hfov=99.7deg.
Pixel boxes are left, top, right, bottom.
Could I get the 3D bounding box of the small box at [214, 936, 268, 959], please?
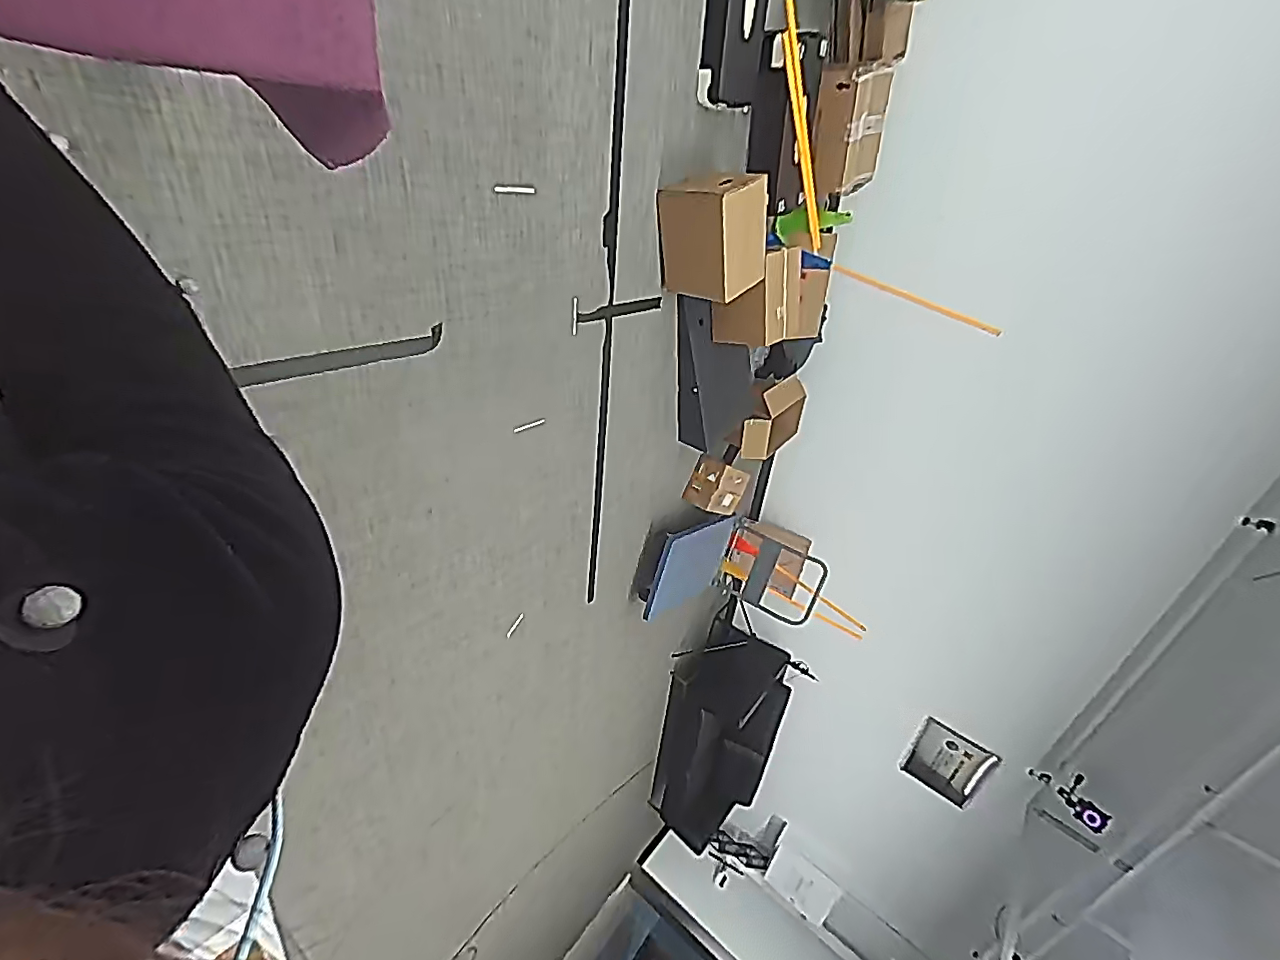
[{"bbox_3d":[-0.849,1.110,1.117,0.168,0.176,0.179,-22,132,-48],"label":"small box"}]
